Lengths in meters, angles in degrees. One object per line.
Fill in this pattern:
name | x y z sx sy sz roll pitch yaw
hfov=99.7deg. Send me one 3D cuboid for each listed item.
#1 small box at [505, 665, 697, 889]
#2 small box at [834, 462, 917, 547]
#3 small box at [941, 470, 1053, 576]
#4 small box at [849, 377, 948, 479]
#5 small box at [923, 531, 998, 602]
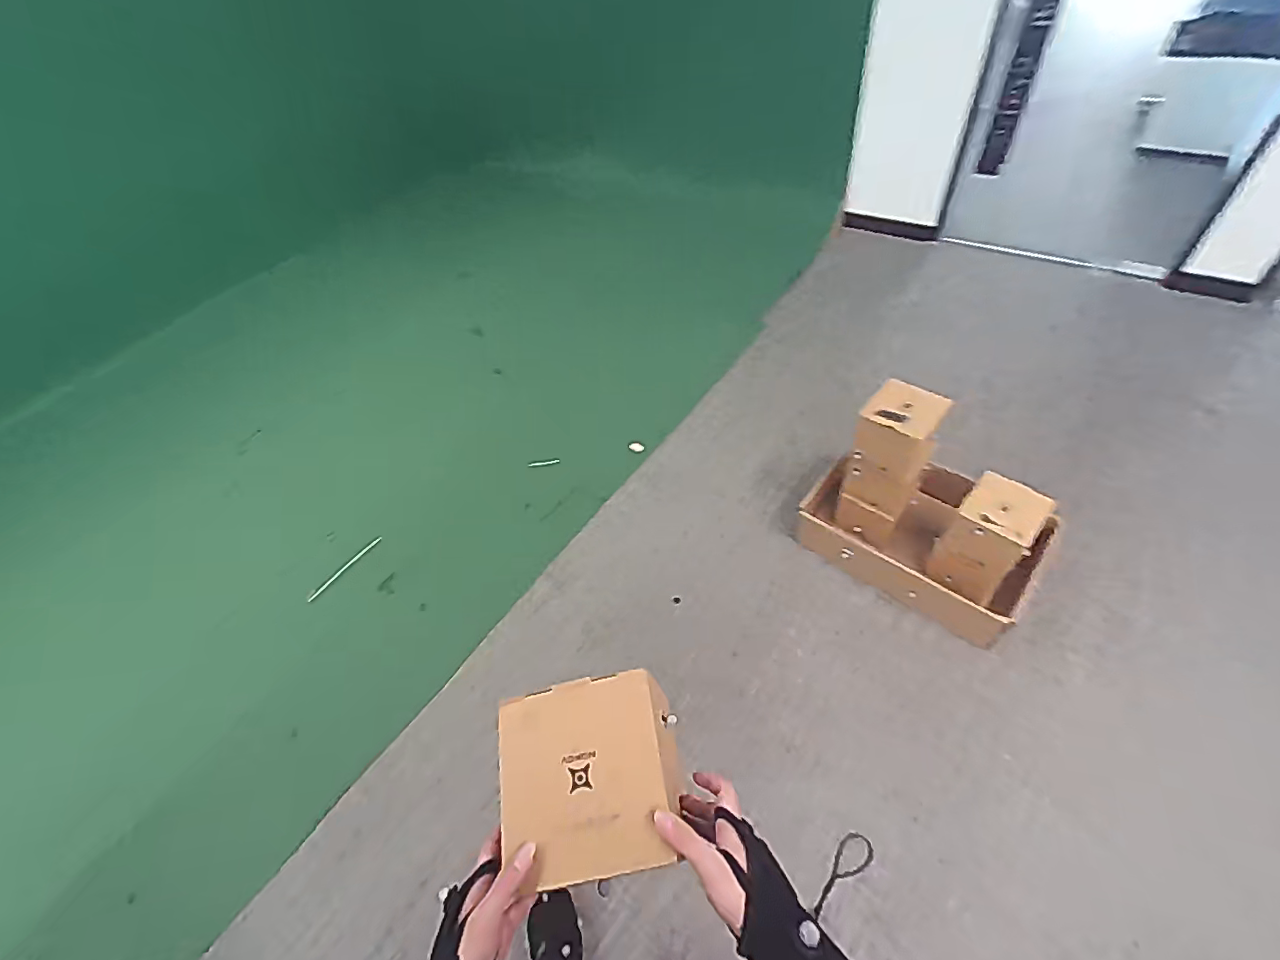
small box | -0.039 0.325 0.595 0.168 0.176 0.179 -13 56 4
small box | 0.726 0.073 1.683 0.168 0.176 0.179 32 62 30
small box | 0.918 0.113 1.405 0.168 0.176 0.179 34 64 31
small box | 0.675 -0.134 1.434 0.168 0.176 0.179 32 61 29
small box | 0.937 0.209 1.537 0.168 0.176 0.179 32 64 30
